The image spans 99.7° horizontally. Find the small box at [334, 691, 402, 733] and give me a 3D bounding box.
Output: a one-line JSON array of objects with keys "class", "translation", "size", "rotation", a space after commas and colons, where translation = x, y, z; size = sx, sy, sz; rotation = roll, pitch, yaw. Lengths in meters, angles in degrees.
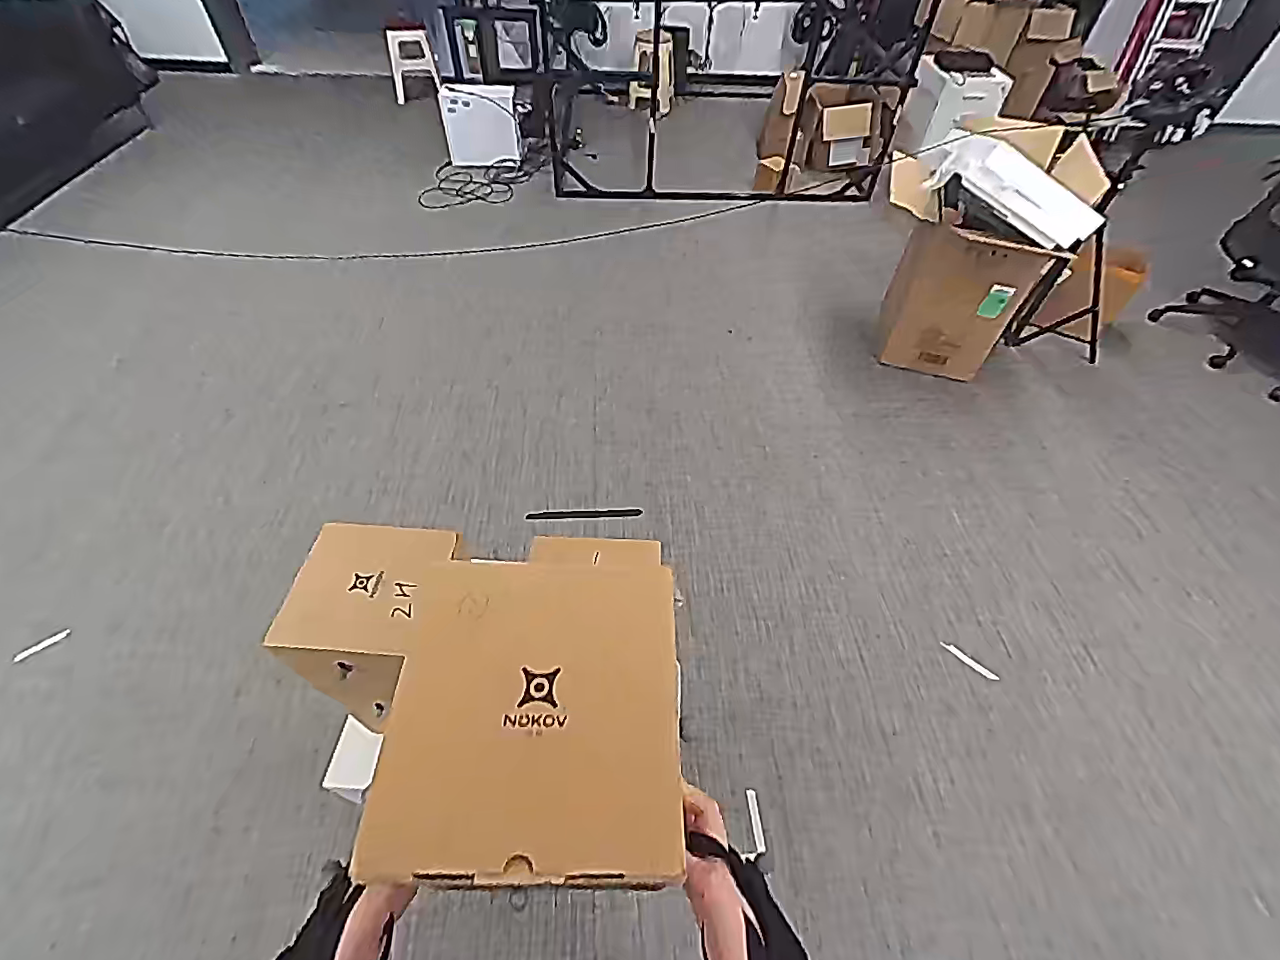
[{"class": "small box", "translation": [-0.324, 0.275, 0.825], "size": [0.168, 0.176, 0.179], "rotation": [5, 49, 2]}]

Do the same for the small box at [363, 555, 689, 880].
[{"class": "small box", "translation": [-0.060, 0.171, 0.381], "size": [0.168, 0.176, 0.179], "rotation": [2, 54, -2]}]

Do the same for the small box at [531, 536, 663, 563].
[{"class": "small box", "translation": [-0.058, 0.192, 0.694], "size": [0.168, 0.176, 0.179], "rotation": [3, 50, 0]}]

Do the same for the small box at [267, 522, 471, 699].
[{"class": "small box", "translation": [-0.318, 0.173, 0.696], "size": [0.179, 0.176, 0.168], "rotation": [5, 51, 1]}]
